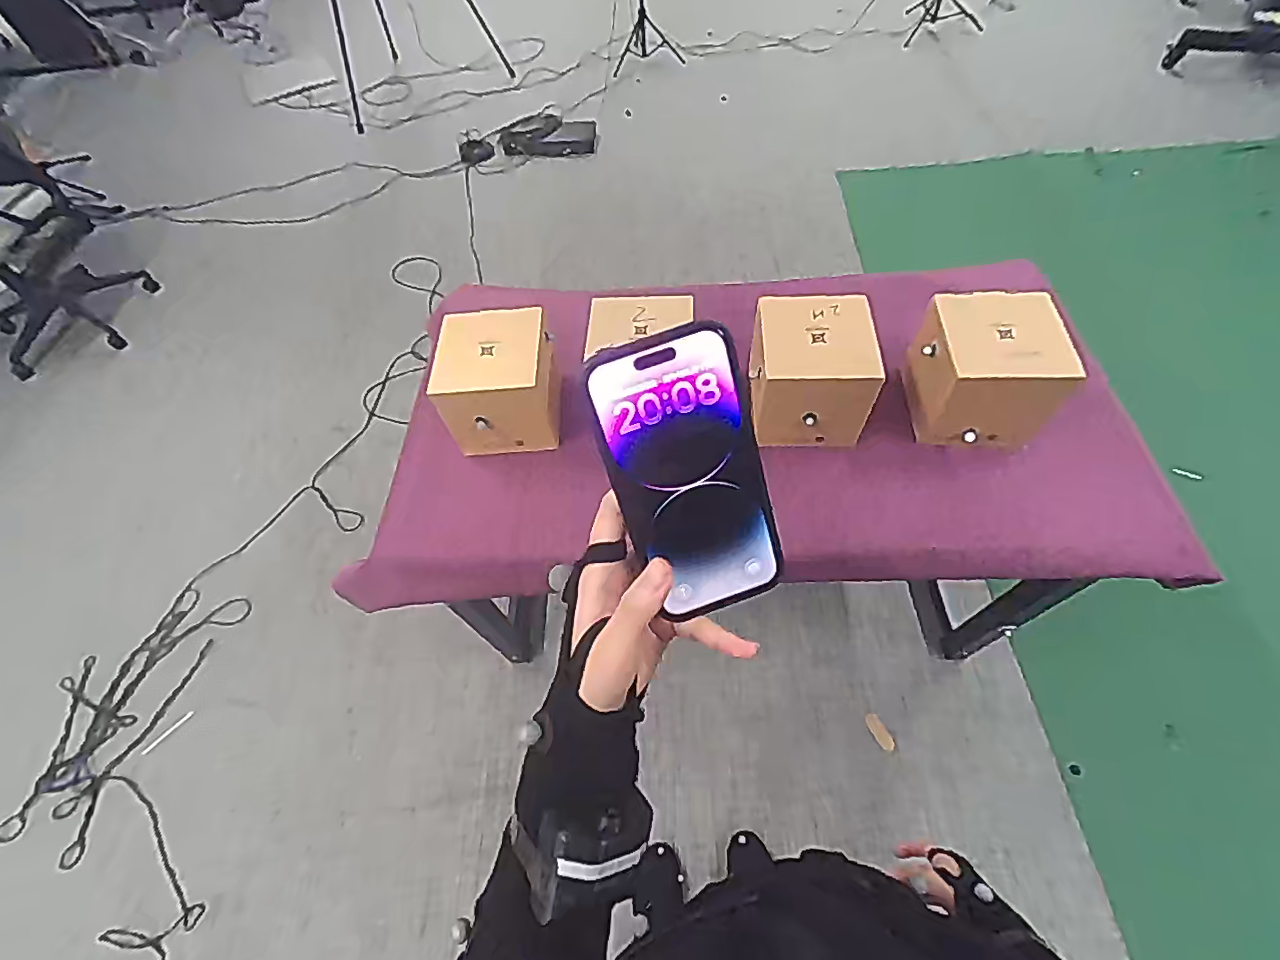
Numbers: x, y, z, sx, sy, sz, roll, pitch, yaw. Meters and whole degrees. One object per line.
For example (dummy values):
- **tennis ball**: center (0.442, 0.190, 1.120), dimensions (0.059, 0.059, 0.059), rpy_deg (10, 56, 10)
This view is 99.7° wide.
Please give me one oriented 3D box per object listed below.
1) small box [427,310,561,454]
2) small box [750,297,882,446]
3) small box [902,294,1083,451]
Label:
- **small box**: center (-0.231, -0.156, 0.906), dimensions (0.168, 0.176, 0.179), rpy_deg (-4, 56, 3)
- **small box**: center (0.268, -0.168, 0.868), dimensions (0.168, 0.176, 0.179), rpy_deg (1, 57, 5)
- **small box**: center (0.528, -0.166, 0.844), dimensions (0.168, 0.176, 0.179), rpy_deg (2, 58, 7)
